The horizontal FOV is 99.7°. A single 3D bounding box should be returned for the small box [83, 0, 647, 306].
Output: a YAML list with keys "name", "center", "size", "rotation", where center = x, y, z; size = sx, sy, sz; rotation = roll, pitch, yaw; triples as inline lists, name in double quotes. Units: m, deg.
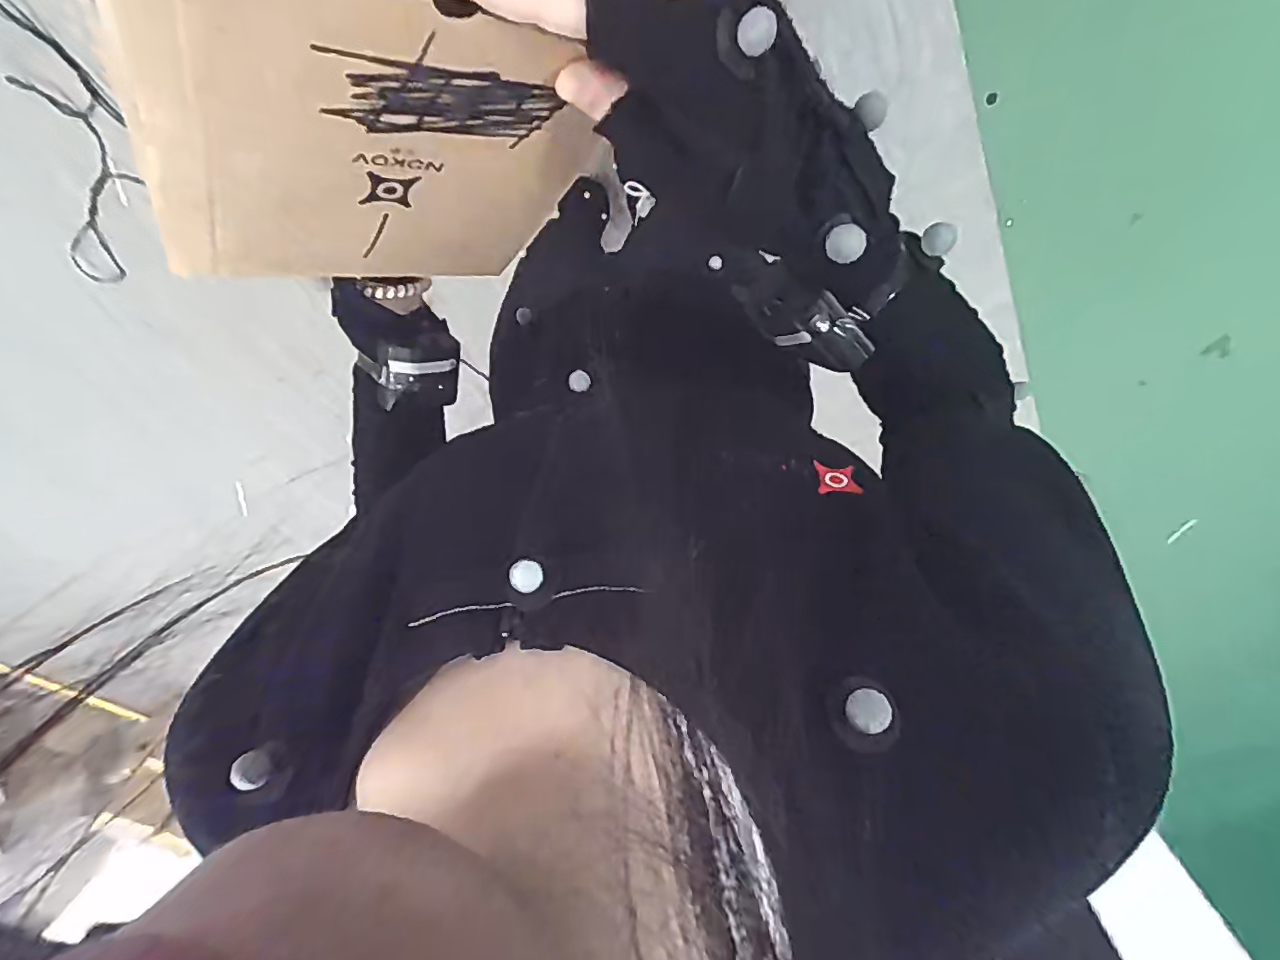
- name: "small box"
  center: [-0.131, -0.199, 0.236]
  size: [0.168, 0.176, 0.179]
  rotation: [-16, 174, -37]
